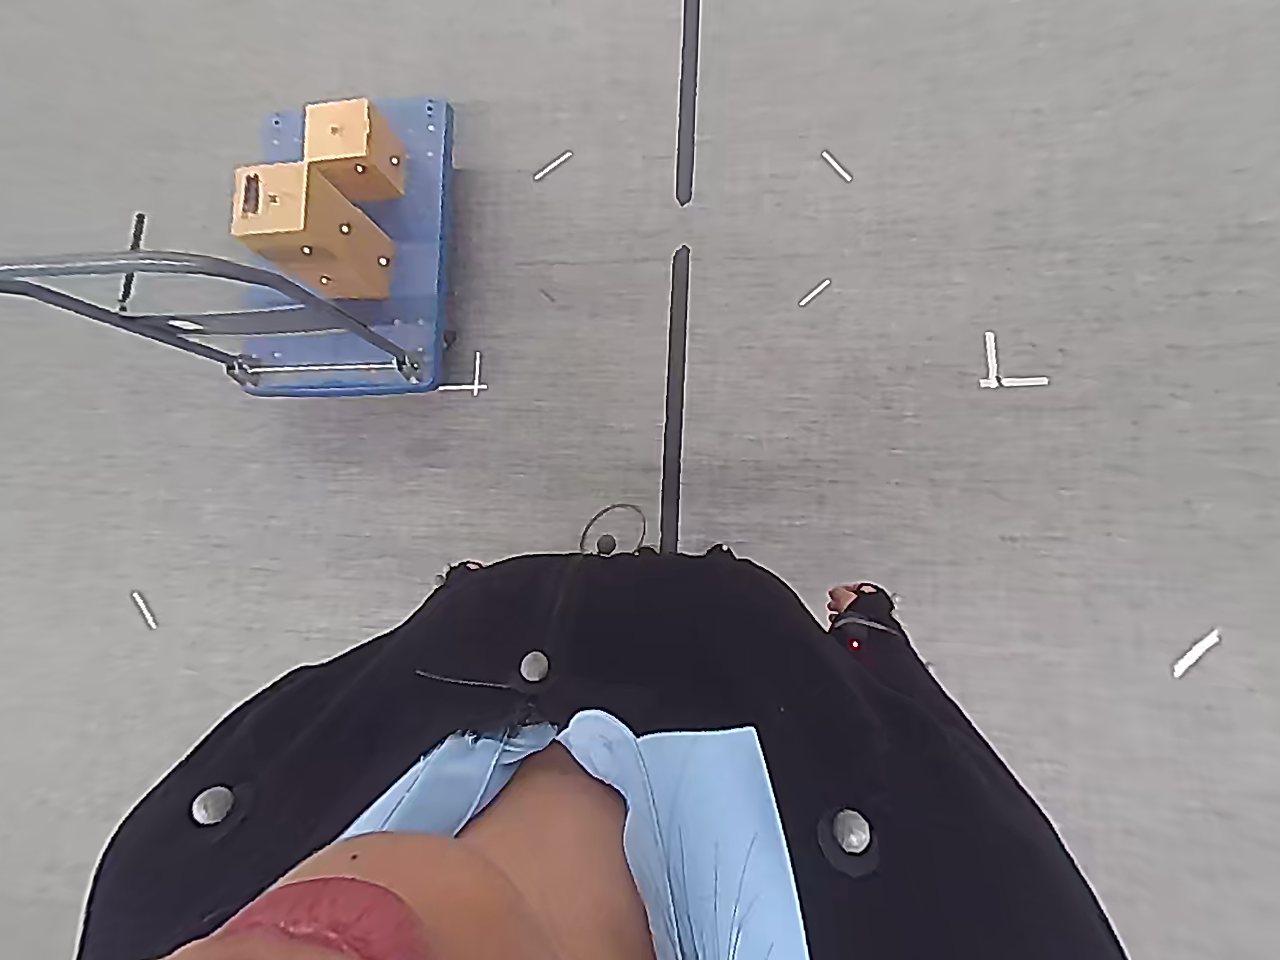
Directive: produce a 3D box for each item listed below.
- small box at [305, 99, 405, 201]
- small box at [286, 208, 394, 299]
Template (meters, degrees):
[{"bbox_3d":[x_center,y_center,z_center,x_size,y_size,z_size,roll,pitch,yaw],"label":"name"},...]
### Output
[{"bbox_3d":[-0.766,-0.883,1.462,0.179,0.176,0.168,-3,83,5],"label":"small box"},{"bbox_3d":[-0.783,-0.591,1.425,0.179,0.176,0.168,3,84,6],"label":"small box"}]
